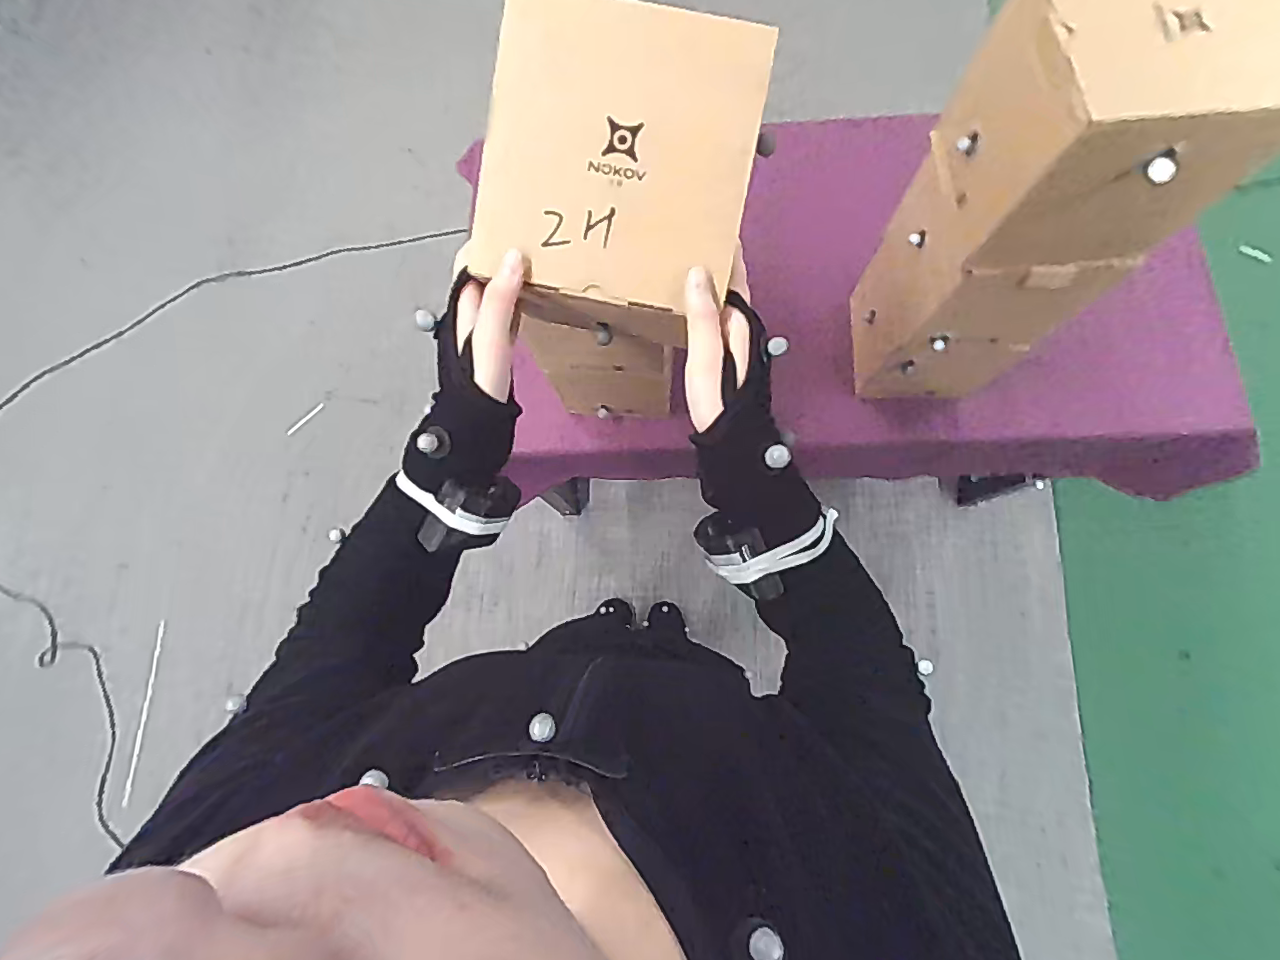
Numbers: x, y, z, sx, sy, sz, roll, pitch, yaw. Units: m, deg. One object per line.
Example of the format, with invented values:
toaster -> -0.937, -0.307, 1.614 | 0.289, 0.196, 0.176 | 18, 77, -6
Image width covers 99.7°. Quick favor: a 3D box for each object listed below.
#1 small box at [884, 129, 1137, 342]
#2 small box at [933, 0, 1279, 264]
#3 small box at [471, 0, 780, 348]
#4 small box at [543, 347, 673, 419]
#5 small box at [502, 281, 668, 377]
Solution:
small box -> 0.402, -0.271, 0.623 | 0.168, 0.176, 0.179 | -2, 75, 3
small box -> 0.389, -0.310, 0.465 | 0.179, 0.176, 0.168 | -4, 76, 3
small box -> -0.009, -0.211, 0.413 | 0.168, 0.176, 0.179 | 12, 98, 1
small box -> -0.036, -0.205, 0.804 | 0.168, 0.176, 0.179 | 3, 78, 5
small box -> -0.047, -0.241, 0.643 | 0.168, 0.176, 0.179 | 3, 76, 6
